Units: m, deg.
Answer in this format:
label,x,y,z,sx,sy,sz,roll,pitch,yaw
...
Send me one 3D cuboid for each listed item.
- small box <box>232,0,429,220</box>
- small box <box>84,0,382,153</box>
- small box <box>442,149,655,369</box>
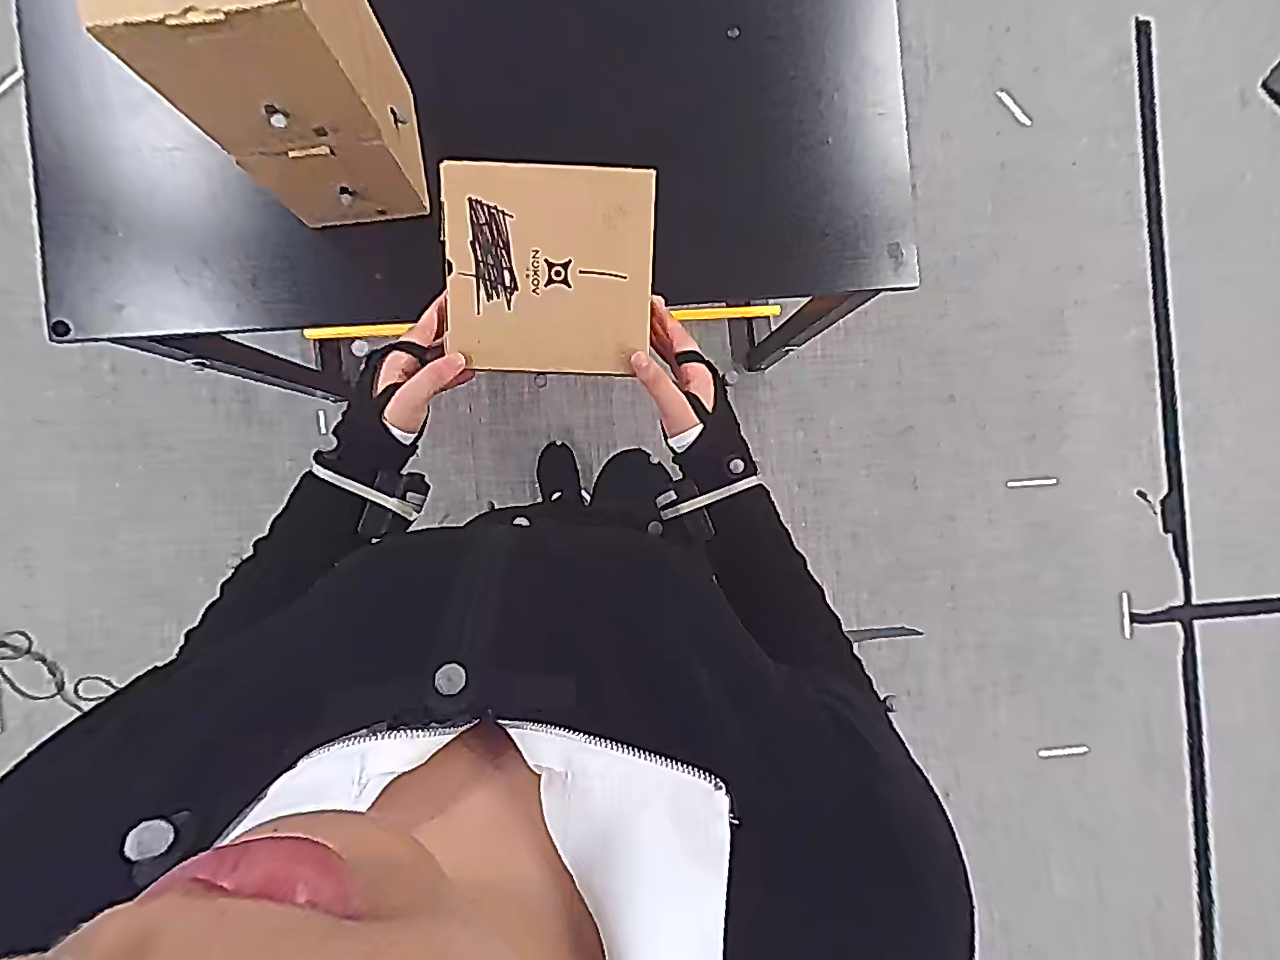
label,x,y,z,sx,sy,sz,roll,pitch,yaw
small box,-0.378,-0.445,0.672,0.168,0.176,0.179,-9,91,-4
small box,-0.367,-0.449,0.506,0.168,0.176,0.179,-10,91,-3
small box,-0.079,-0.198,0.531,0.179,0.176,0.168,2,100,-2
